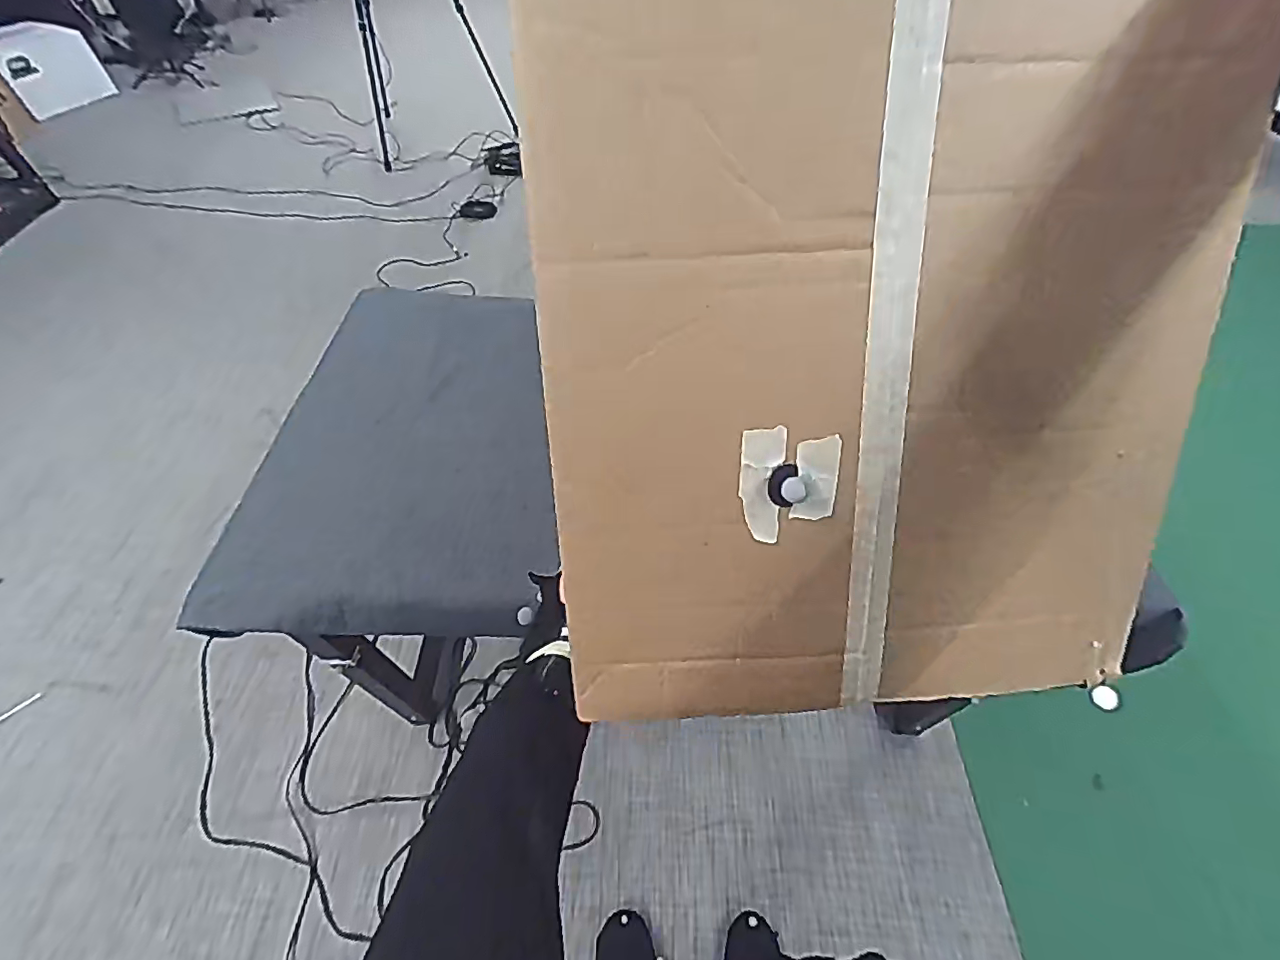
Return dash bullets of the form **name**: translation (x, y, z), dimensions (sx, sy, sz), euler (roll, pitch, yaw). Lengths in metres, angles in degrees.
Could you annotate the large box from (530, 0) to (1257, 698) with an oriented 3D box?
- **large box**: translation (0.111, -0.115, 0.408), dimensions (0.320, 0.408, 0.320), euler (-4, 19, -2)
